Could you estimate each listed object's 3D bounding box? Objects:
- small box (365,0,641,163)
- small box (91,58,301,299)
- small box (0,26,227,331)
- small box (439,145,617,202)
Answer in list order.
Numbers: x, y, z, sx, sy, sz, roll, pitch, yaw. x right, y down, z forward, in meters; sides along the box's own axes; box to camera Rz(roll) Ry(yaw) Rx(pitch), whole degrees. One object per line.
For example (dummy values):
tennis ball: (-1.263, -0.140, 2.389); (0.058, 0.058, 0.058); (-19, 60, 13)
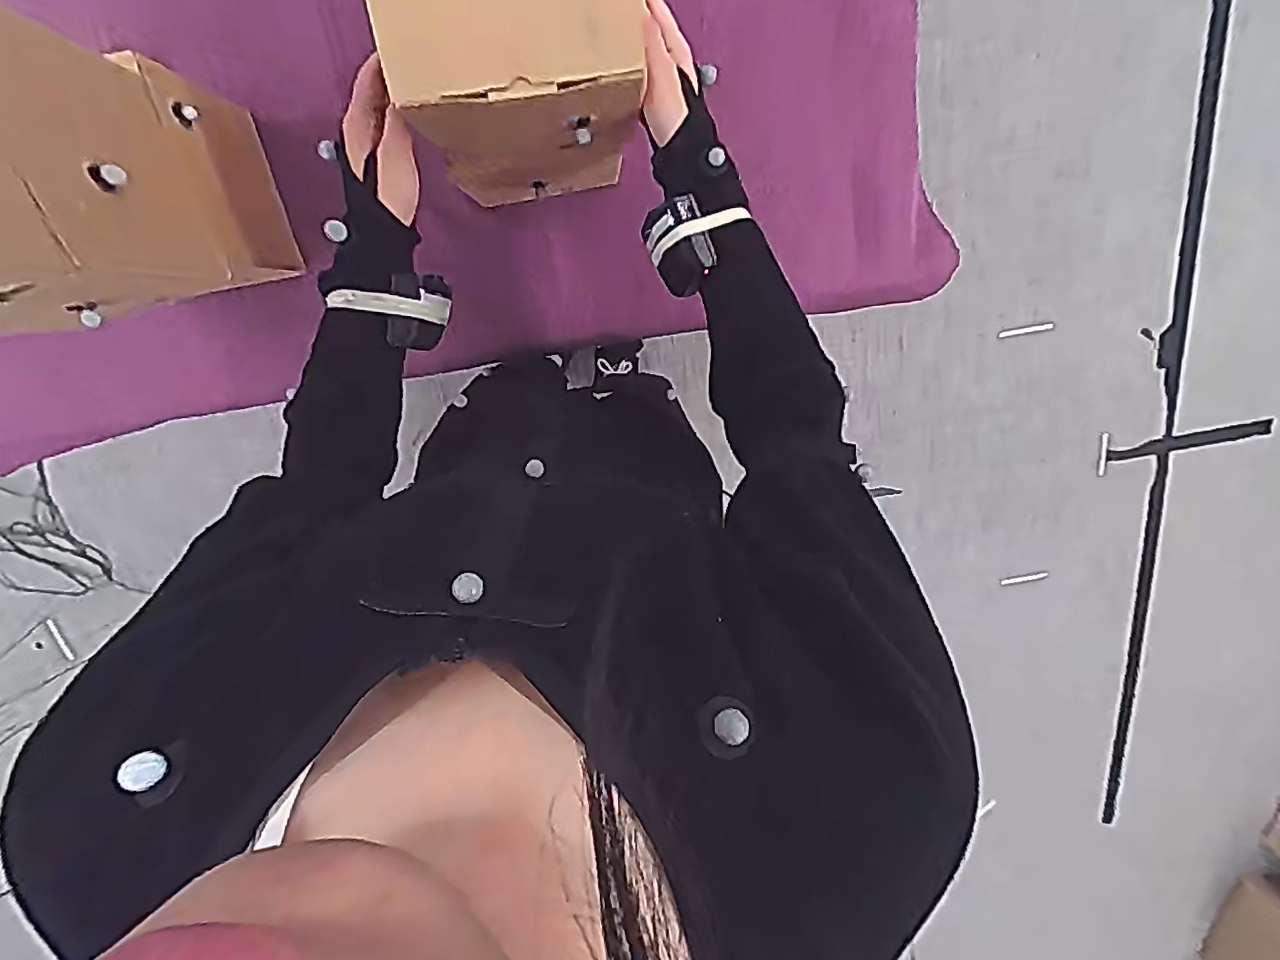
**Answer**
small box: (-0.095, -0.350, 0.395); (0.168, 0.176, 0.179); (-9, 108, -3)
small box: (-0.493, -0.287, 0.557); (0.168, 0.176, 0.179); (-11, 108, -1)
small box: (-0.472, -0.216, 0.409); (0.168, 0.176, 0.179); (-16, 109, 0)
small box: (-0.118, -0.395, 0.550); (0.168, 0.176, 0.179); (-11, 109, -2)
